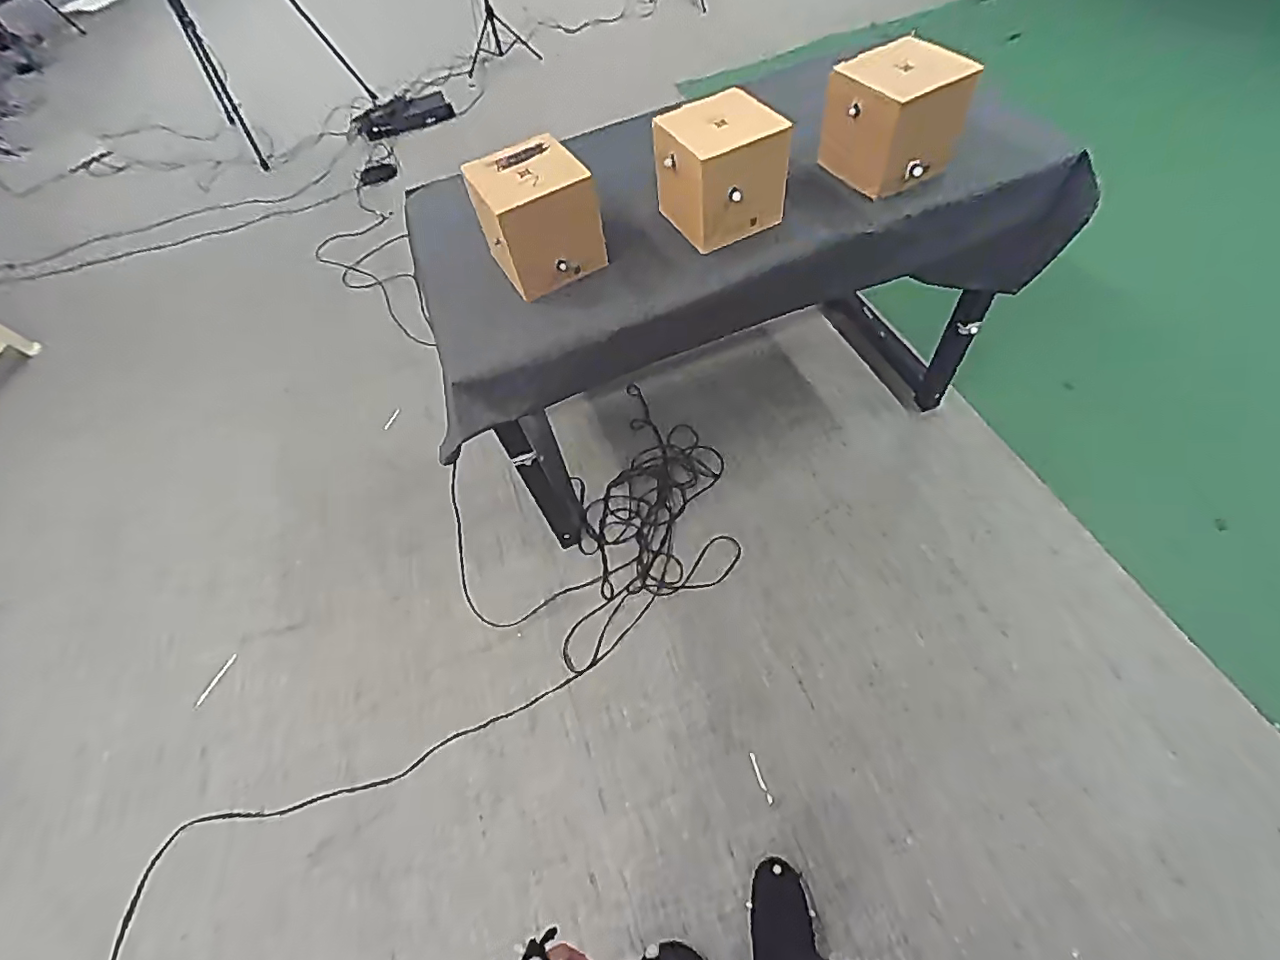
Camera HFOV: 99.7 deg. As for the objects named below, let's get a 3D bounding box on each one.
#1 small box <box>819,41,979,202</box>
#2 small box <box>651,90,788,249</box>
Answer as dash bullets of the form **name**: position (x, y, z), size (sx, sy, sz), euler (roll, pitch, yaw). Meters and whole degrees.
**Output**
- **small box**: position (0.445, -0.634, 0.964), size (0.168, 0.176, 0.179), euler (-27, 59, -8)
- **small box**: position (0.136, -0.532, 0.942), size (0.168, 0.176, 0.179), euler (-25, 57, -8)
